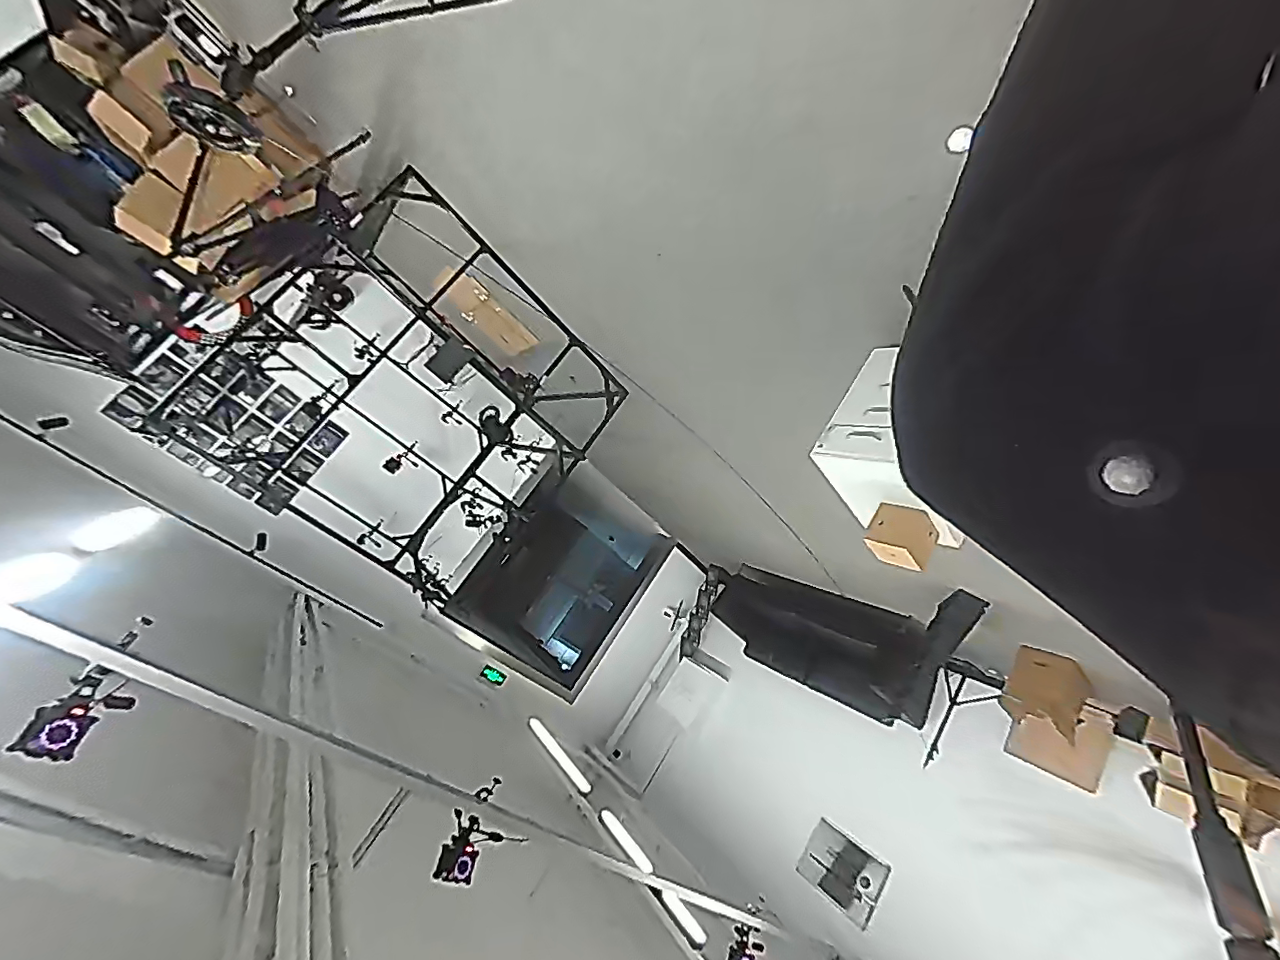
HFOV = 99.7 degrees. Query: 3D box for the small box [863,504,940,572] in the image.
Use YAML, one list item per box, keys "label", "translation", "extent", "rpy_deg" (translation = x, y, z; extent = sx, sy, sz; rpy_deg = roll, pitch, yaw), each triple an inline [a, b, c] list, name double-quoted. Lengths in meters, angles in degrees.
- label: "small box"
  translation: [0.963, 0.206, 1.988]
  extent: [0.168, 0.176, 0.179]
  rpy_deg: [43, 164, -31]
